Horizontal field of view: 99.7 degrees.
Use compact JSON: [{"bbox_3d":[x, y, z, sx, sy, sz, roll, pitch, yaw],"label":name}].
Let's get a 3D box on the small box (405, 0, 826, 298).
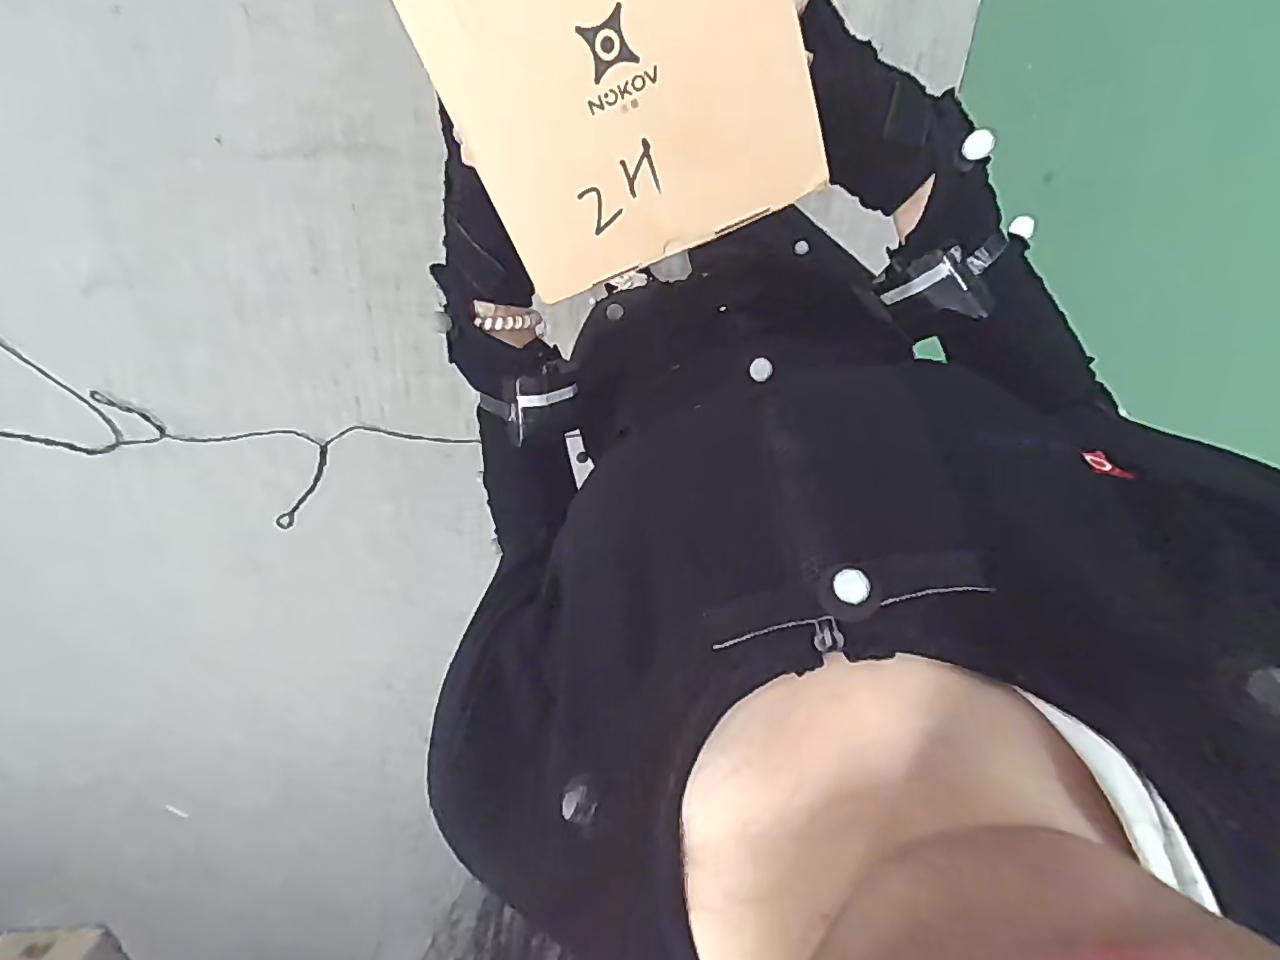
[{"bbox_3d":[-0.006,-0.237,0.321,0.168,0.176,0.179,-17,120,15],"label":"small box"}]
